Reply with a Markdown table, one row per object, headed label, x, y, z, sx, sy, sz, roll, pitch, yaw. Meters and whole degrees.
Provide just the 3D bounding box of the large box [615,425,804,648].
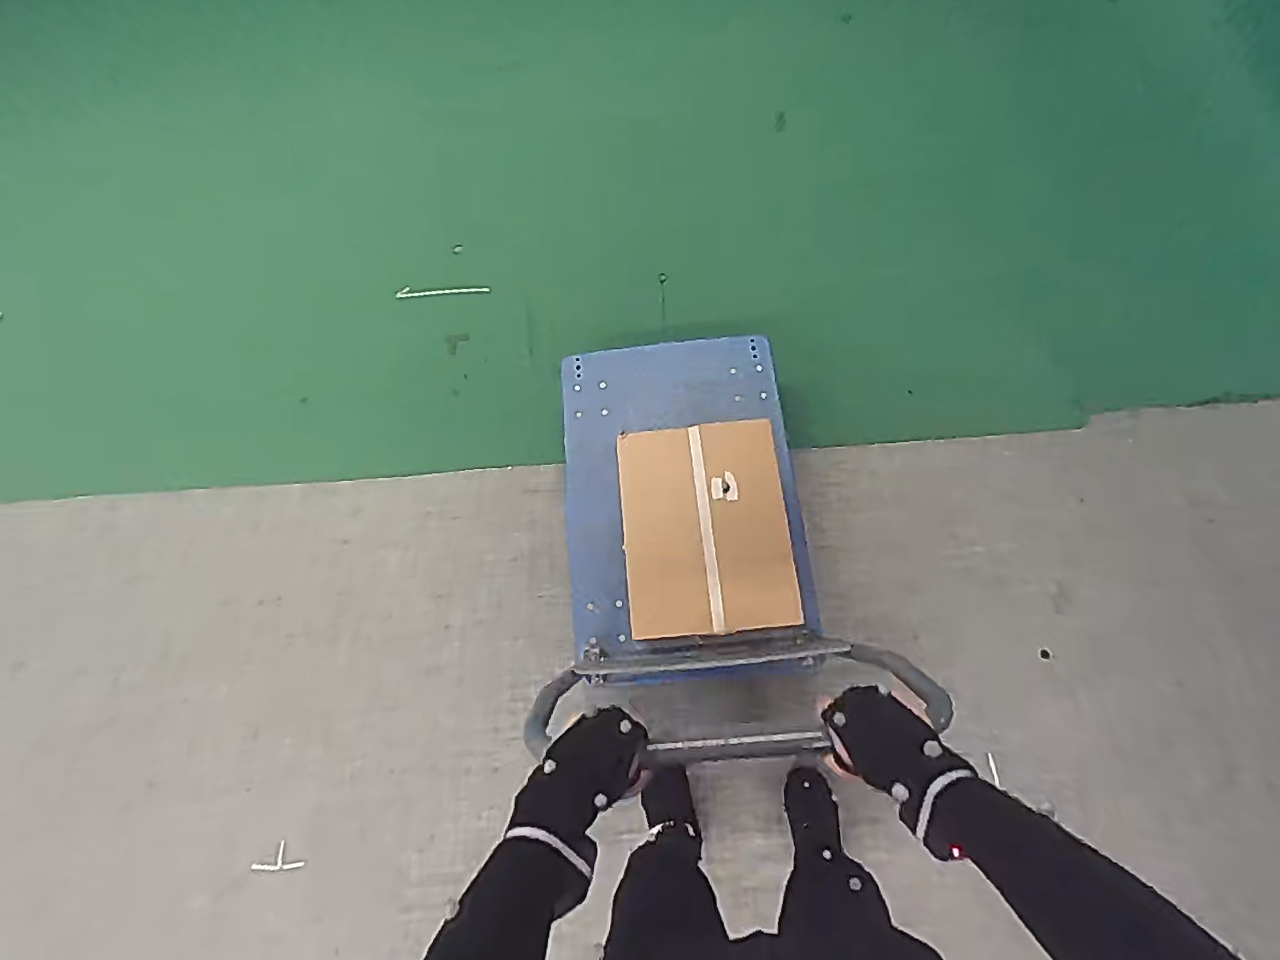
| label | x | y | z | sx | sy | sz | roll | pitch | yaw |
| --- | --- | --- | --- | --- | --- | --- | --- | --- | --- |
| large box | 0.133 | 0.140 | 1.176 | 0.320 | 0.320 | 0.408 | -6 | 72 | 1 |
